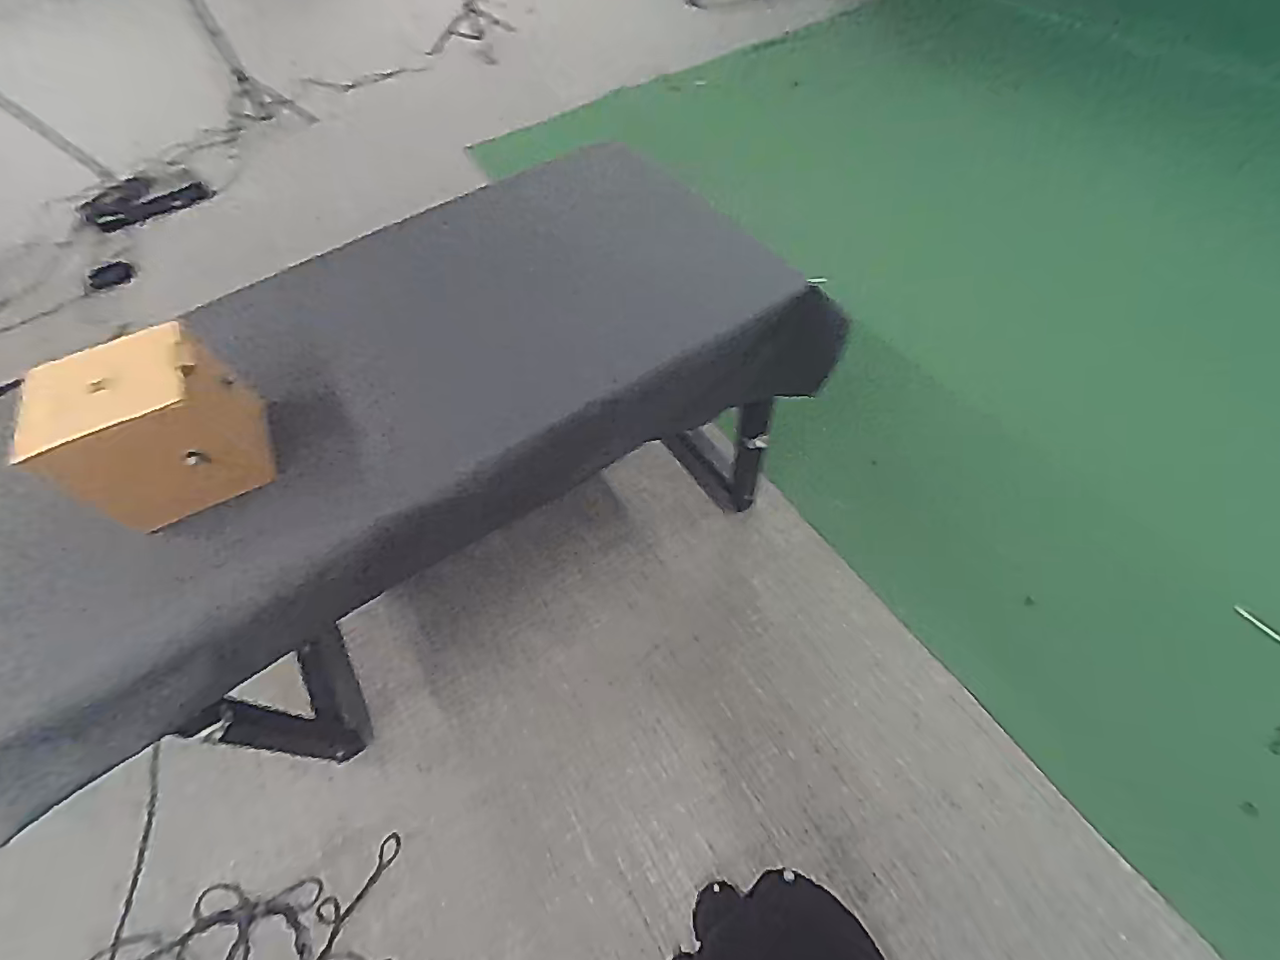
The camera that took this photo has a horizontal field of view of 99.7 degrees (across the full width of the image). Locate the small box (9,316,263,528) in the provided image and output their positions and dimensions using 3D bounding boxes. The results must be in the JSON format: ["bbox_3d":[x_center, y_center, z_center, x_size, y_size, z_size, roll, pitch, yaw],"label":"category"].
[{"bbox_3d":[-0.619,-0.070,0.692,0.179,0.176,0.168,-27,58,-11],"label":"small box"}]
